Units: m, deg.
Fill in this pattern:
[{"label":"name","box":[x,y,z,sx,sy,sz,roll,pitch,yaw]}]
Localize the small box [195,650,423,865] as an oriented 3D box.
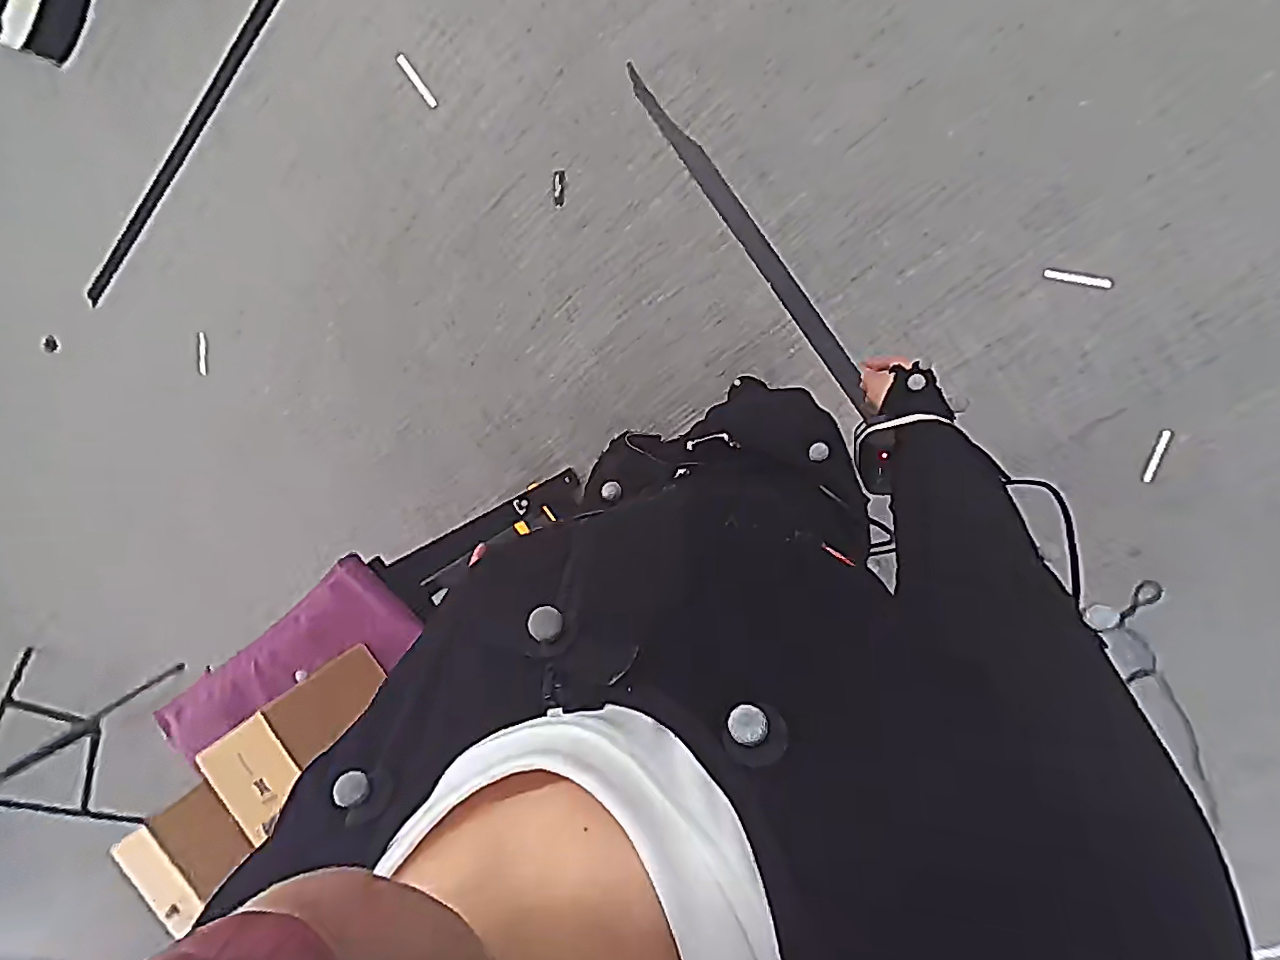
[{"label":"small box","box":[-0.443,0.373,0.748,0.168,0.176,0.179,-34,92,21]}]
